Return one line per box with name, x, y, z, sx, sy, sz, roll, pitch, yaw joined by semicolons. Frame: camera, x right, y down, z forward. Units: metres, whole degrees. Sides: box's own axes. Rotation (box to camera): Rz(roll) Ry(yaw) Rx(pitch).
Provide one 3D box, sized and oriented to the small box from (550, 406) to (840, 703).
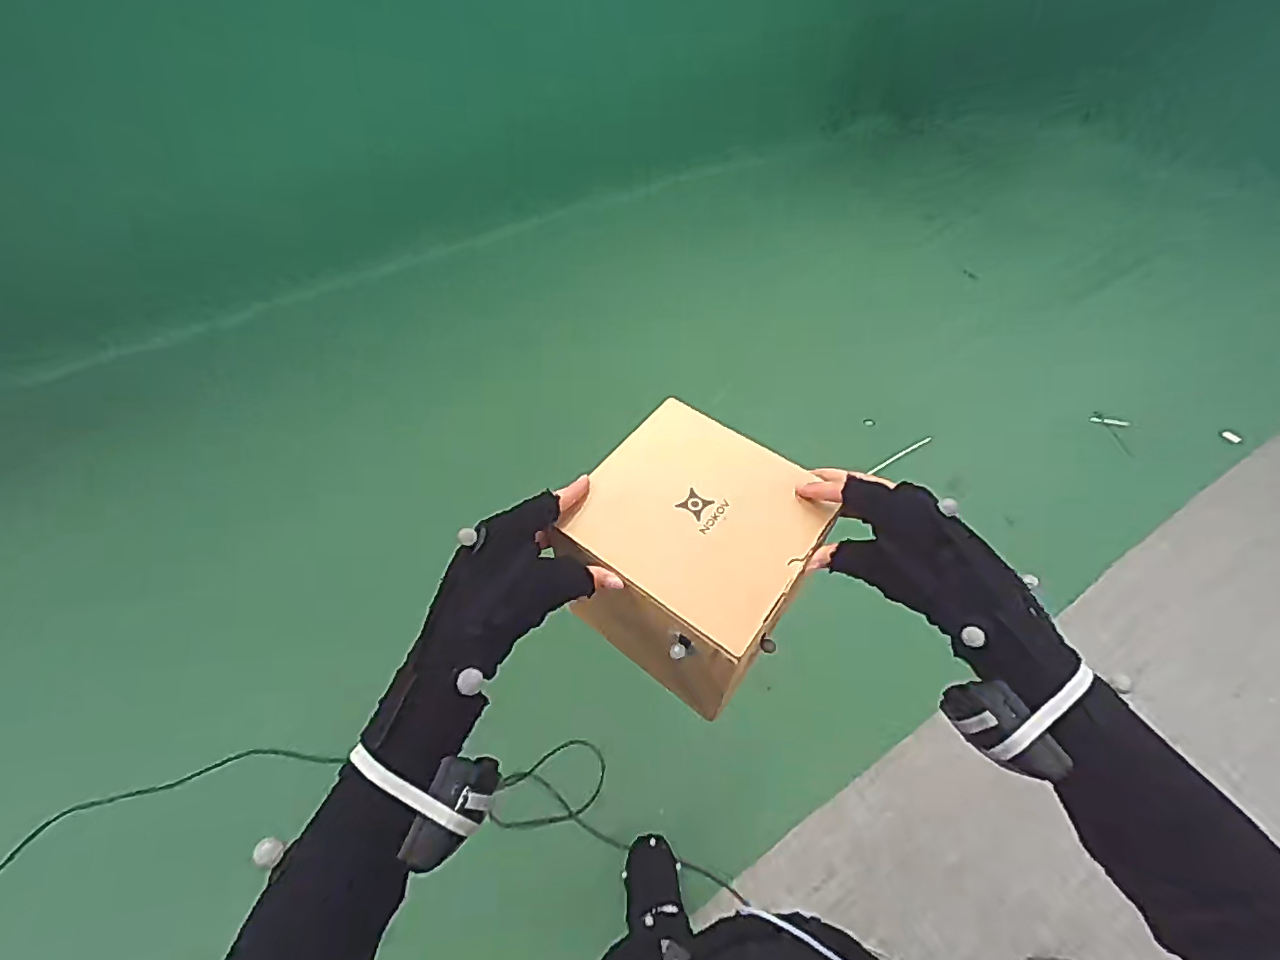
small box;0.043;0.072;0.491;0.179;0.176;0.168;33;60;20
